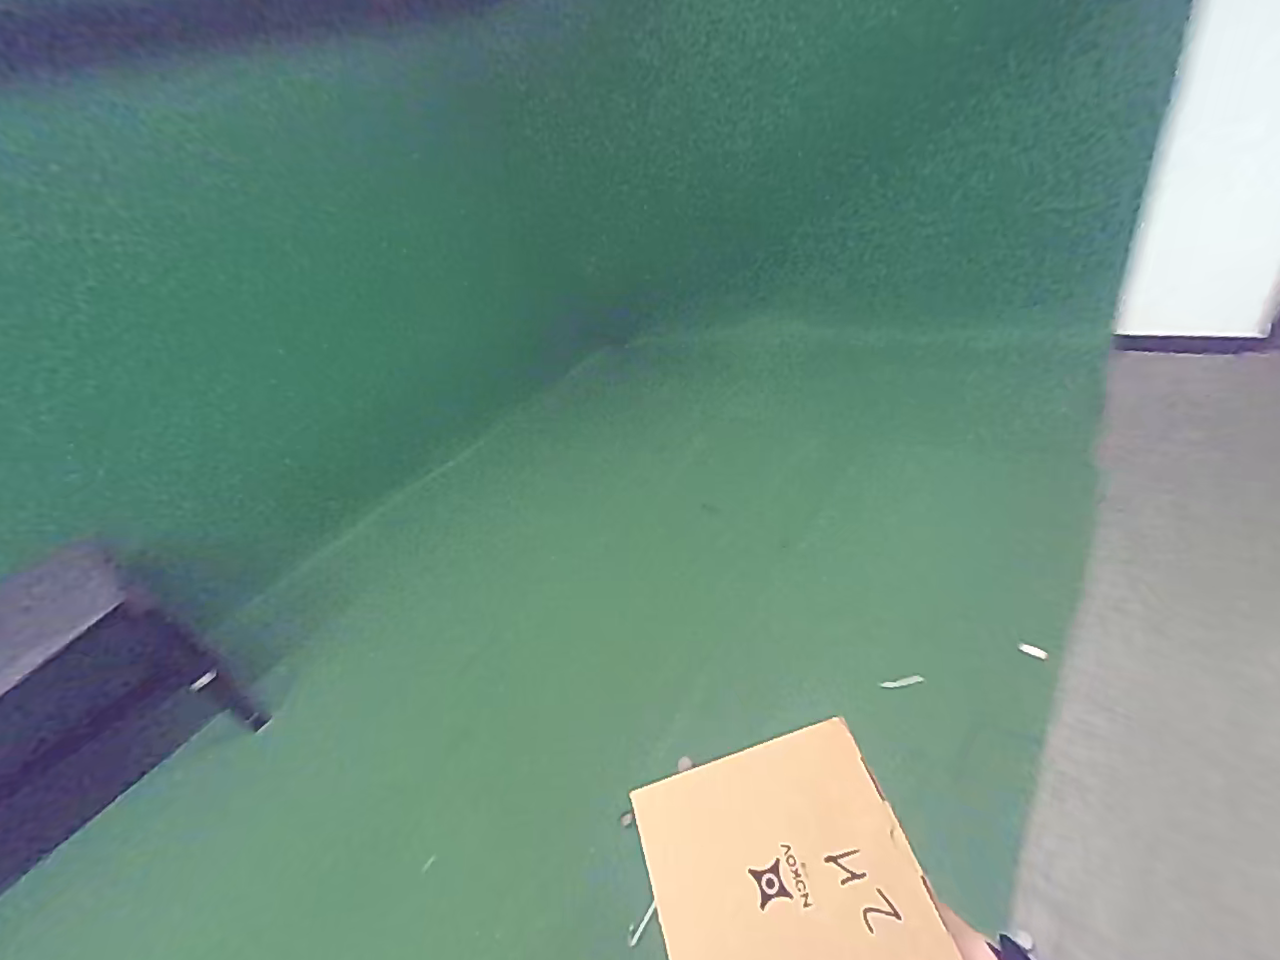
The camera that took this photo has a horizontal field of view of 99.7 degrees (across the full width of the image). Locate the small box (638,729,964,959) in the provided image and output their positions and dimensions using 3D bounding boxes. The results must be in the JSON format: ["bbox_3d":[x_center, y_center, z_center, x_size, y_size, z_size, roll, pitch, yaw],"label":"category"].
[{"bbox_3d":[0.115,0.319,0.417,0.179,0.176,0.168,-18,52,0],"label":"small box"}]
